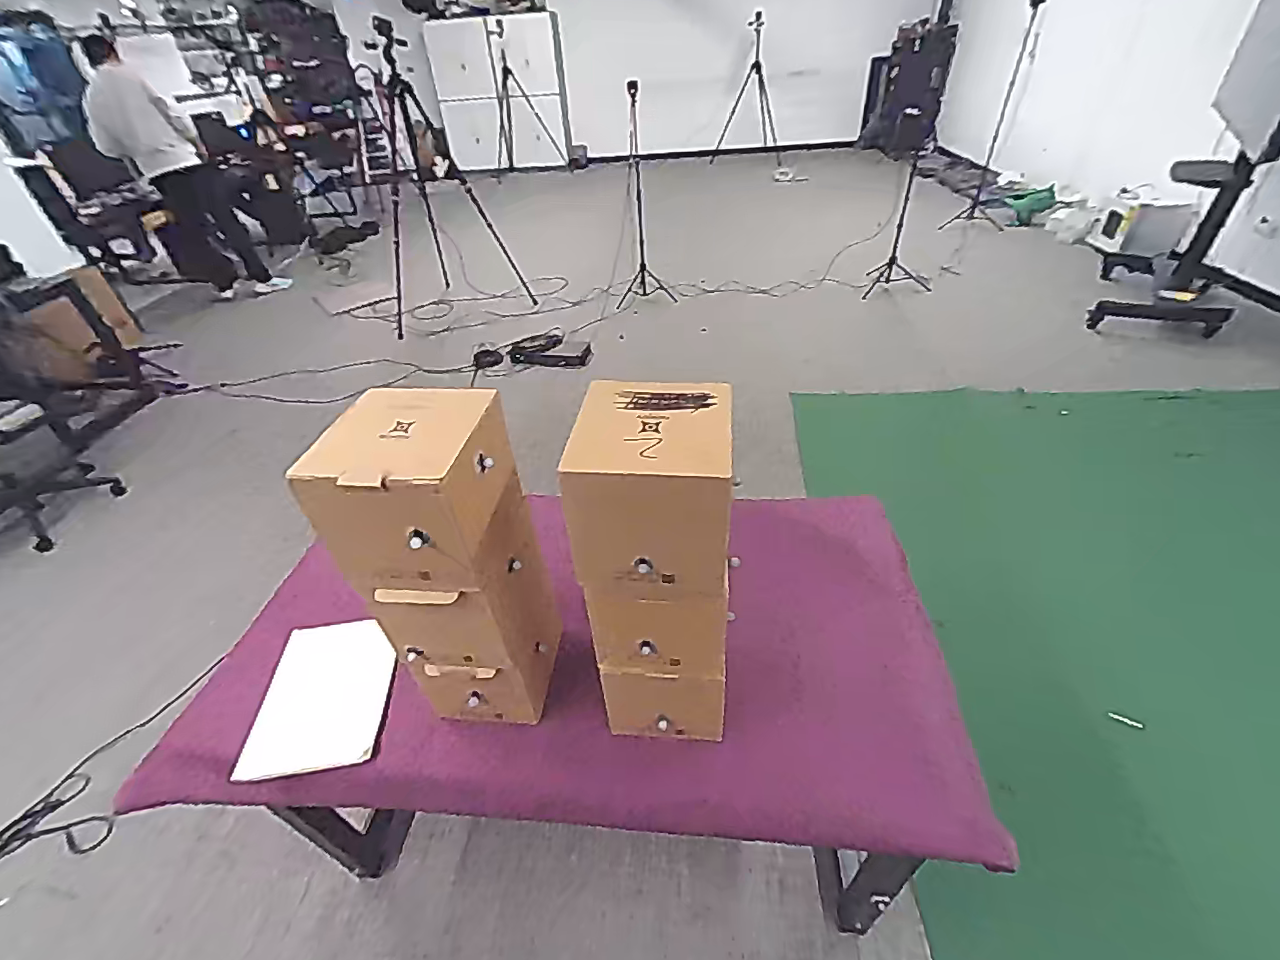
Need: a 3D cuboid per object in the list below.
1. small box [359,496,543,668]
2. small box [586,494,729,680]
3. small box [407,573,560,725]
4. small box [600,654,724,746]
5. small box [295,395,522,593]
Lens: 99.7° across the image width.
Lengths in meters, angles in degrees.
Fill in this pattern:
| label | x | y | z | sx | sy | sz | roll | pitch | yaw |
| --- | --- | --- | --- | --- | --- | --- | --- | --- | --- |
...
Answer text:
| label | x | y | z | sx | sy | sz | roll | pitch | yaw |
| --- | --- | --- | --- | --- | --- | --- | --- | --- | --- |
| small box | -0.241 | 0.139 | 0.748 | 0.168 | 0.176 | 0.179 | 1 | 38 | 7 |
| small box | 0.031 | 0.139 | 0.723 | 0.168 | 0.176 | 0.179 | 1 | 38 | 7 |
| small box | -0.231 | 0.263 | 0.856 | 0.168 | 0.176 | 0.179 | 2 | 40 | 7 |
| small box | 0.042 | 0.271 | 0.818 | 0.168 | 0.176 | 0.179 | 0 | 38 | 8 |
| small box | -0.251 | 0.014 | 0.643 | 0.168 | 0.176 | 0.179 | 2 | 38 | 7 |
